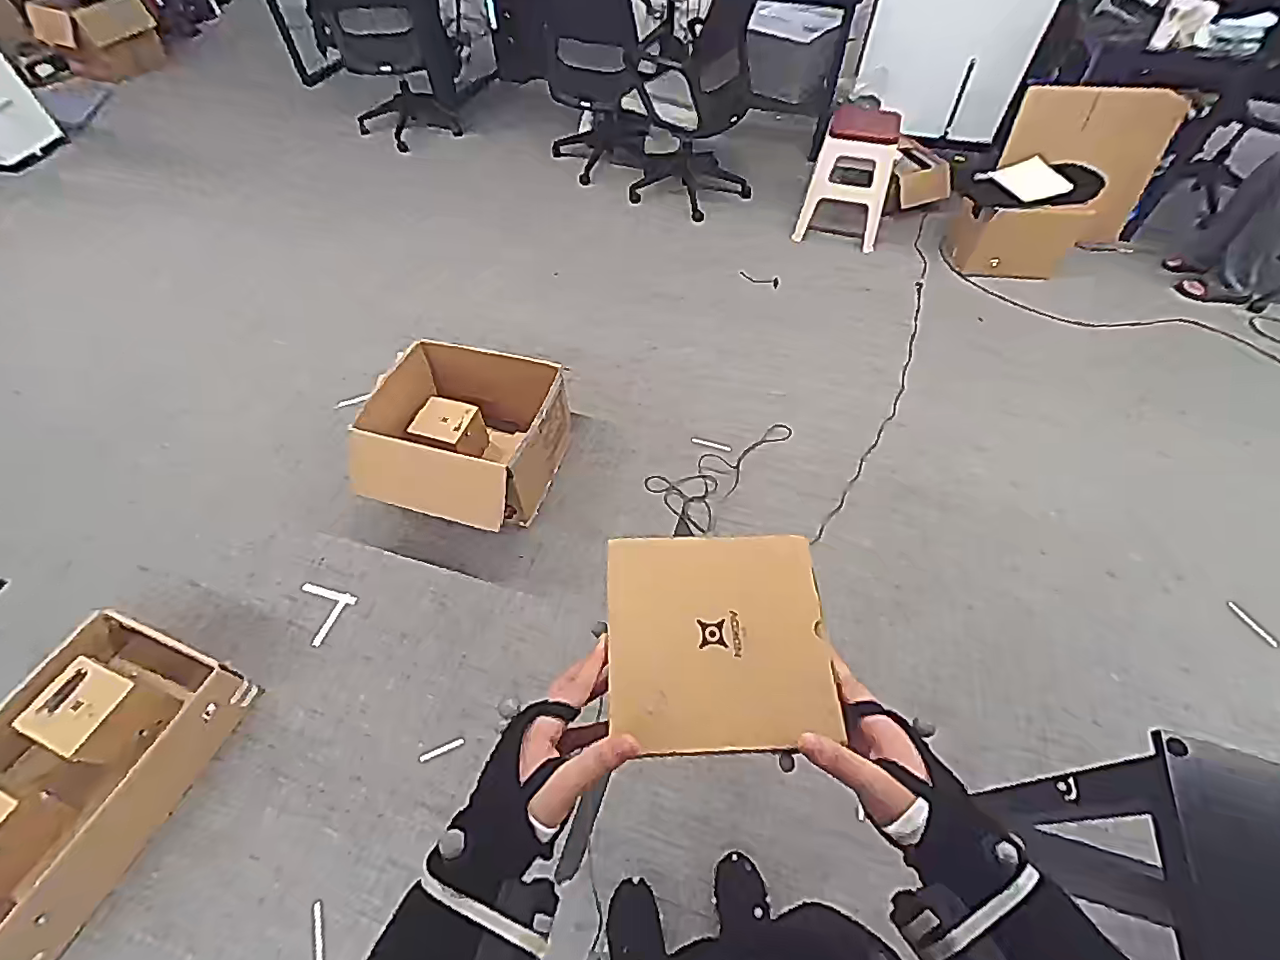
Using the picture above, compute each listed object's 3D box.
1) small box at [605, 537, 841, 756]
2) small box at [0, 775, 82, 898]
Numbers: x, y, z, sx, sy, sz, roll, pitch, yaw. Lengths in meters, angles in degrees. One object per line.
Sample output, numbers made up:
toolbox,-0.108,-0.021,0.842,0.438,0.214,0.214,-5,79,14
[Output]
small box,0.058,0.161,0.502,0.179,0.176,0.168,-1,63,-4
small box,-1.357,0.742,1.127,0.168,0.176,0.179,20,55,11
